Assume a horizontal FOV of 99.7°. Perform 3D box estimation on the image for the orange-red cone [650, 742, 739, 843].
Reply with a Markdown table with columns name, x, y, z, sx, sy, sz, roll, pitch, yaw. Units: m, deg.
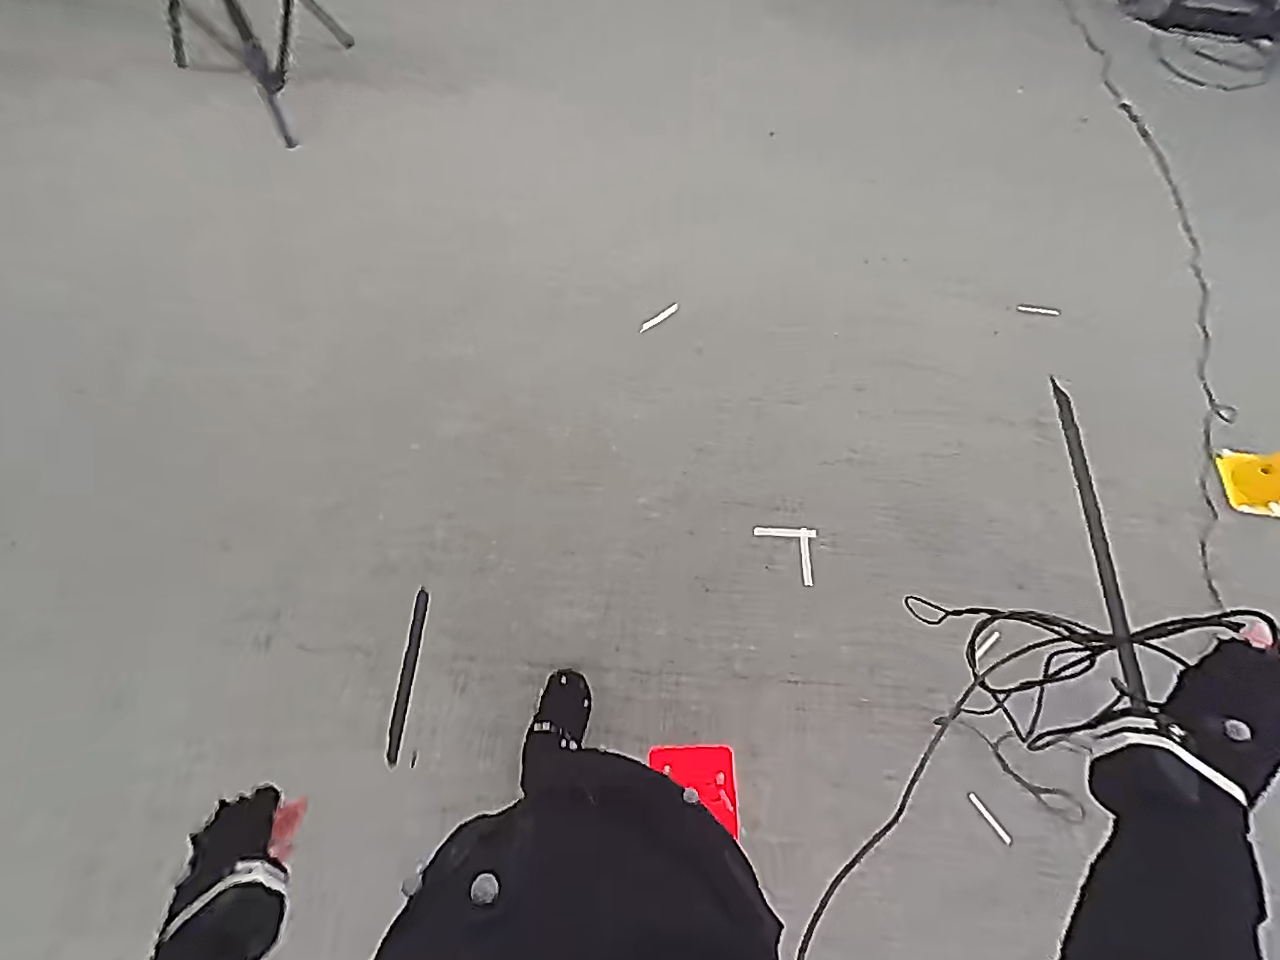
| name | x | y | z | sx | sy | sz | roll | pitch | yaw |
| --- | --- | --- | --- | --- | --- | --- | --- | --- | --- |
| orange-red cone | 0.131 | 0.638 | 1.058 | 0.198 | 0.360 | 0.199 | 1 | 69 | -3 |
